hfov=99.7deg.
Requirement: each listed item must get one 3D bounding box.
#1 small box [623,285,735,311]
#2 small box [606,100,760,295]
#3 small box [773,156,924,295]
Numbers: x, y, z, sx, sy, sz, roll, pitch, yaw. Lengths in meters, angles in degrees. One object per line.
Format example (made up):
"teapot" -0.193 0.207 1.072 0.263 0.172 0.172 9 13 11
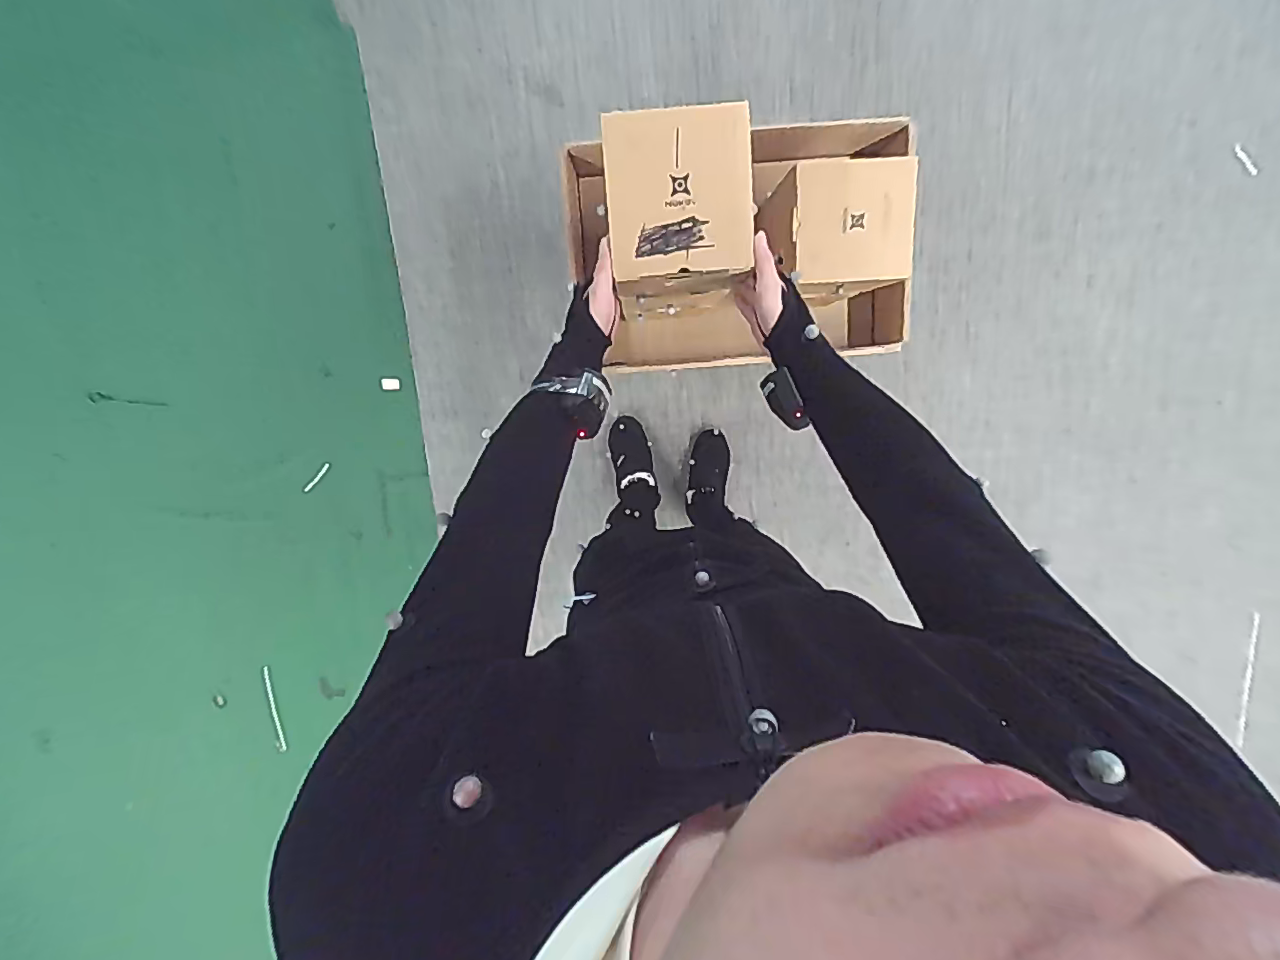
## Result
"small box" 0.052 -0.371 0.853 0.168 0.176 0.179 -4 101 1
"small box" 0.050 -0.332 0.674 0.168 0.176 0.179 -4 101 0
"small box" 0.314 -0.388 0.852 0.179 0.176 0.168 -3 103 0
